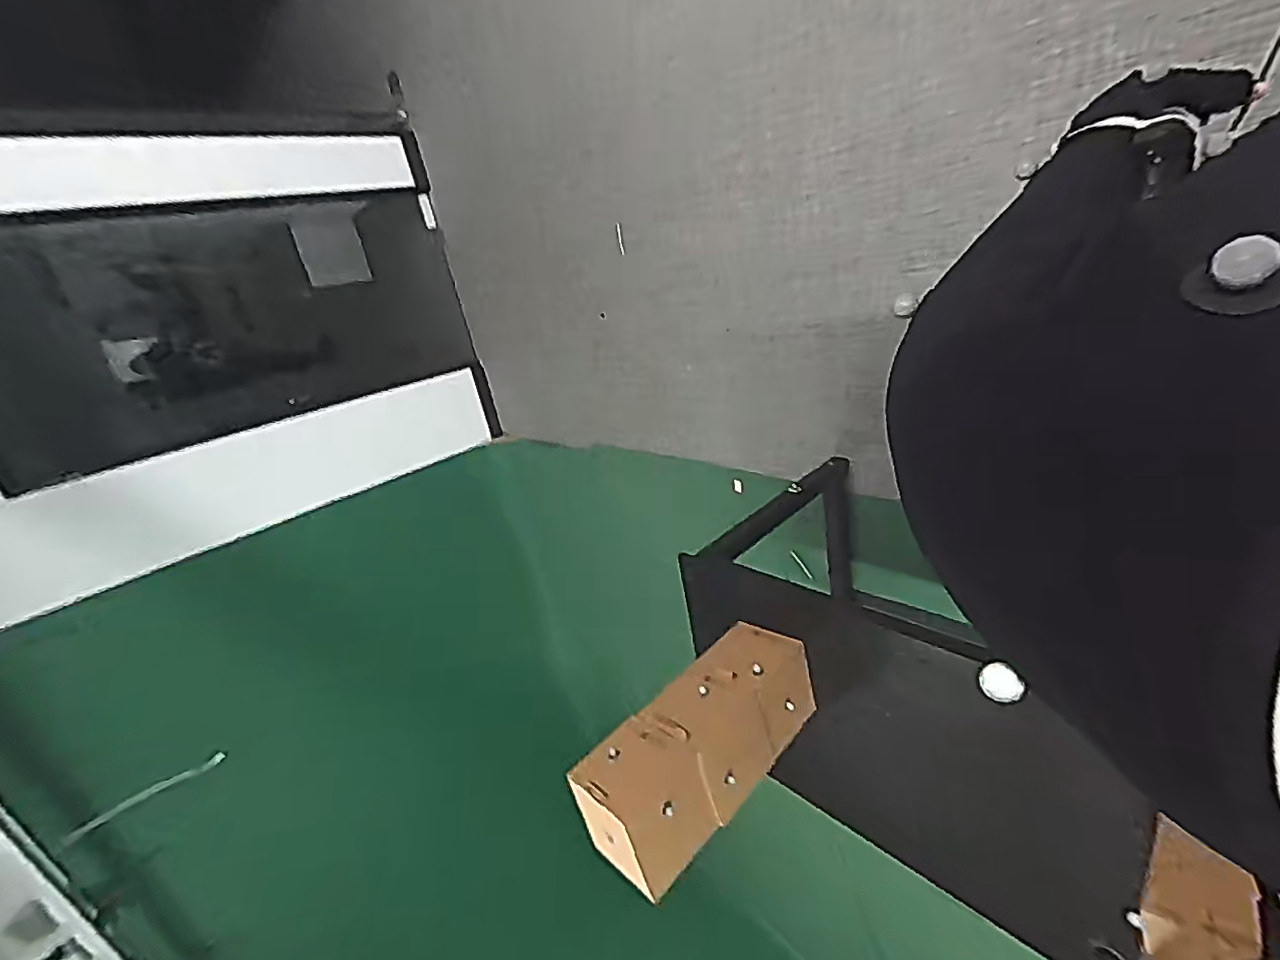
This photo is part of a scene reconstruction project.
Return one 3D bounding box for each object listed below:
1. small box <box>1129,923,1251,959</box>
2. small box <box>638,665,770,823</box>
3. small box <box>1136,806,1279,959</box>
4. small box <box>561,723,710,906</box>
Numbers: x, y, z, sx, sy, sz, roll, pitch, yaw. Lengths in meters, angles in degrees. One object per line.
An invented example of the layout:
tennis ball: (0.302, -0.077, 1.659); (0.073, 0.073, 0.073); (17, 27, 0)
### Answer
small box: (0.603, 0.610, 0.545); (0.168, 0.176, 0.179); (28, 133, 38)
small box: (0.129, 0.496, 1.041); (0.168, 0.176, 0.179); (3, 115, 49)
small box: (0.718, 0.547, 0.645); (0.168, 0.176, 0.179); (3, 114, 50)
small box: (-0.003, 0.564, 0.940); (0.168, 0.176, 0.179); (4, 116, 49)
